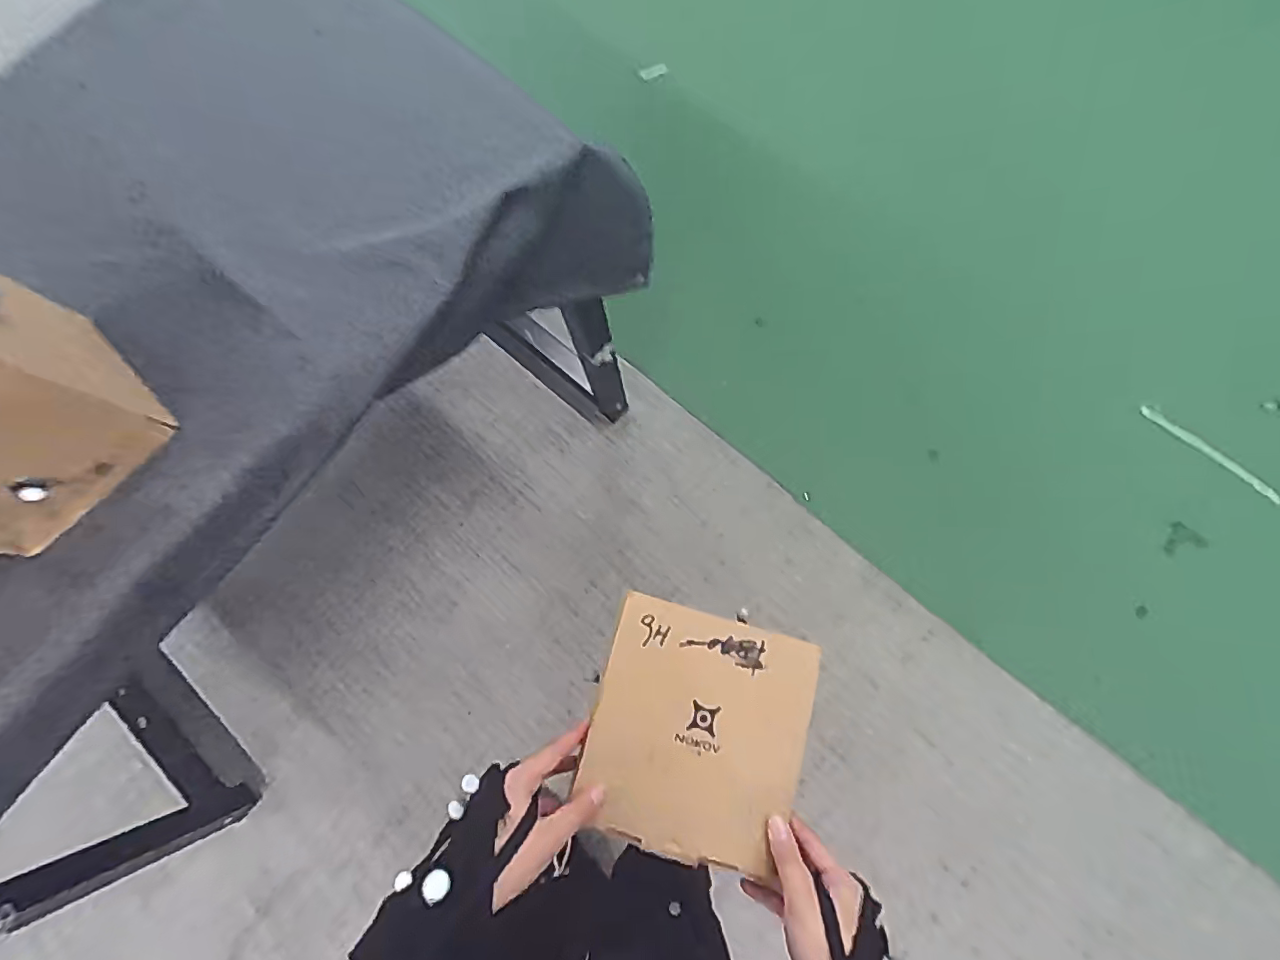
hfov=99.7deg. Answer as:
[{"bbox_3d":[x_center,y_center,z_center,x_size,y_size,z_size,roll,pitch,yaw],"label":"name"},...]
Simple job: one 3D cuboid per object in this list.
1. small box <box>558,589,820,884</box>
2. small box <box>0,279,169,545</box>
[{"bbox_3d":[0.038,0.205,0.486,0.168,0.176,0.179,16,78,0],"label":"small box"},{"bbox_3d":[-0.548,-0.066,0.427,0.179,0.176,0.168,42,82,11],"label":"small box"}]
